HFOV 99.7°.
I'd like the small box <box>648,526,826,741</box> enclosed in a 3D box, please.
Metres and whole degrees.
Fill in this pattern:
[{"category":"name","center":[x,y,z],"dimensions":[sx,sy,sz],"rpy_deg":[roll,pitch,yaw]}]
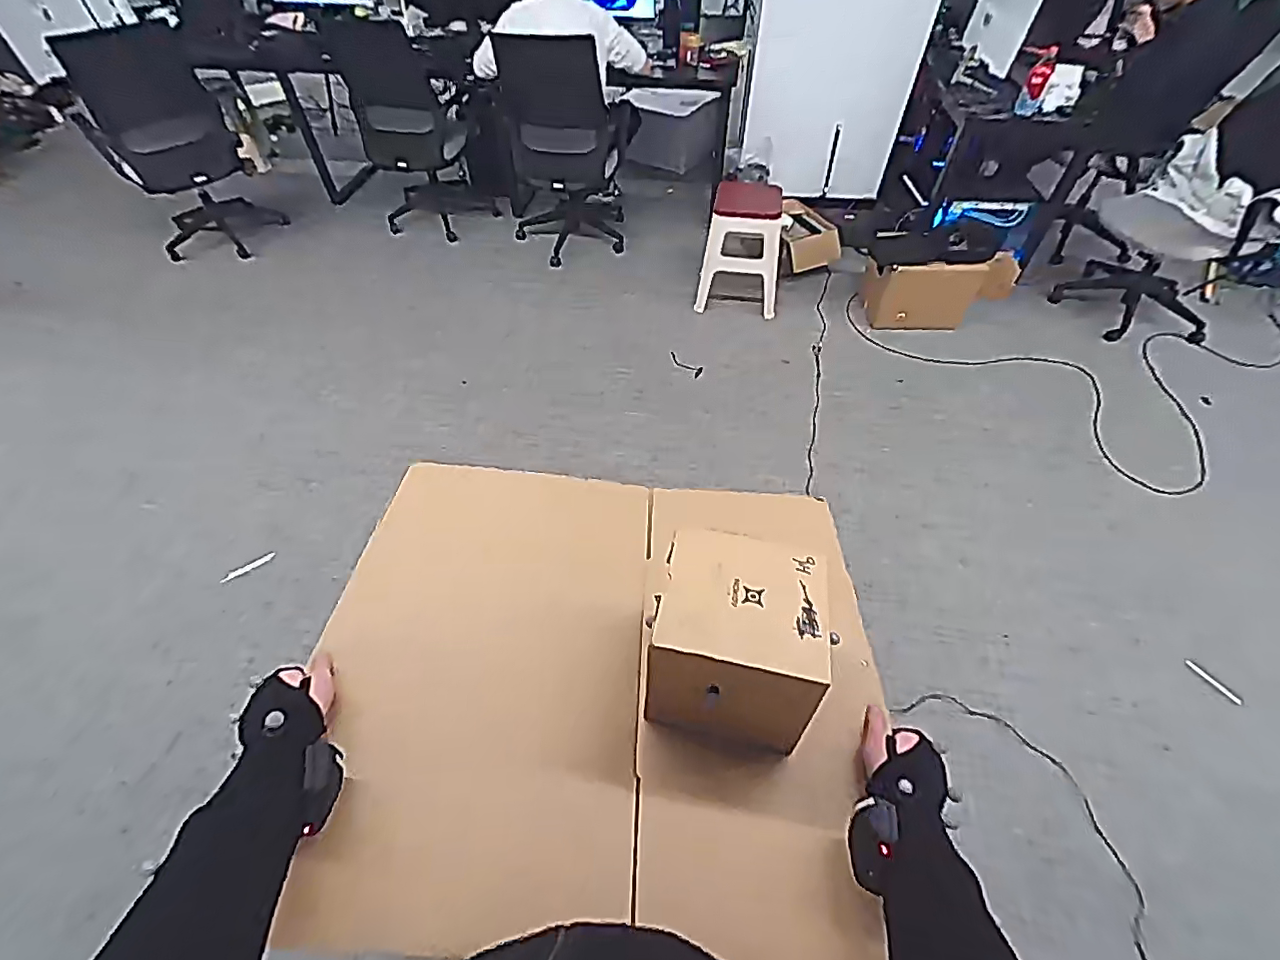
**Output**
[{"category":"small box","center":[0.109,0.180,0.634],"dimensions":[0.179,0.176,0.168],"rpy_deg":[9,44,9]}]
